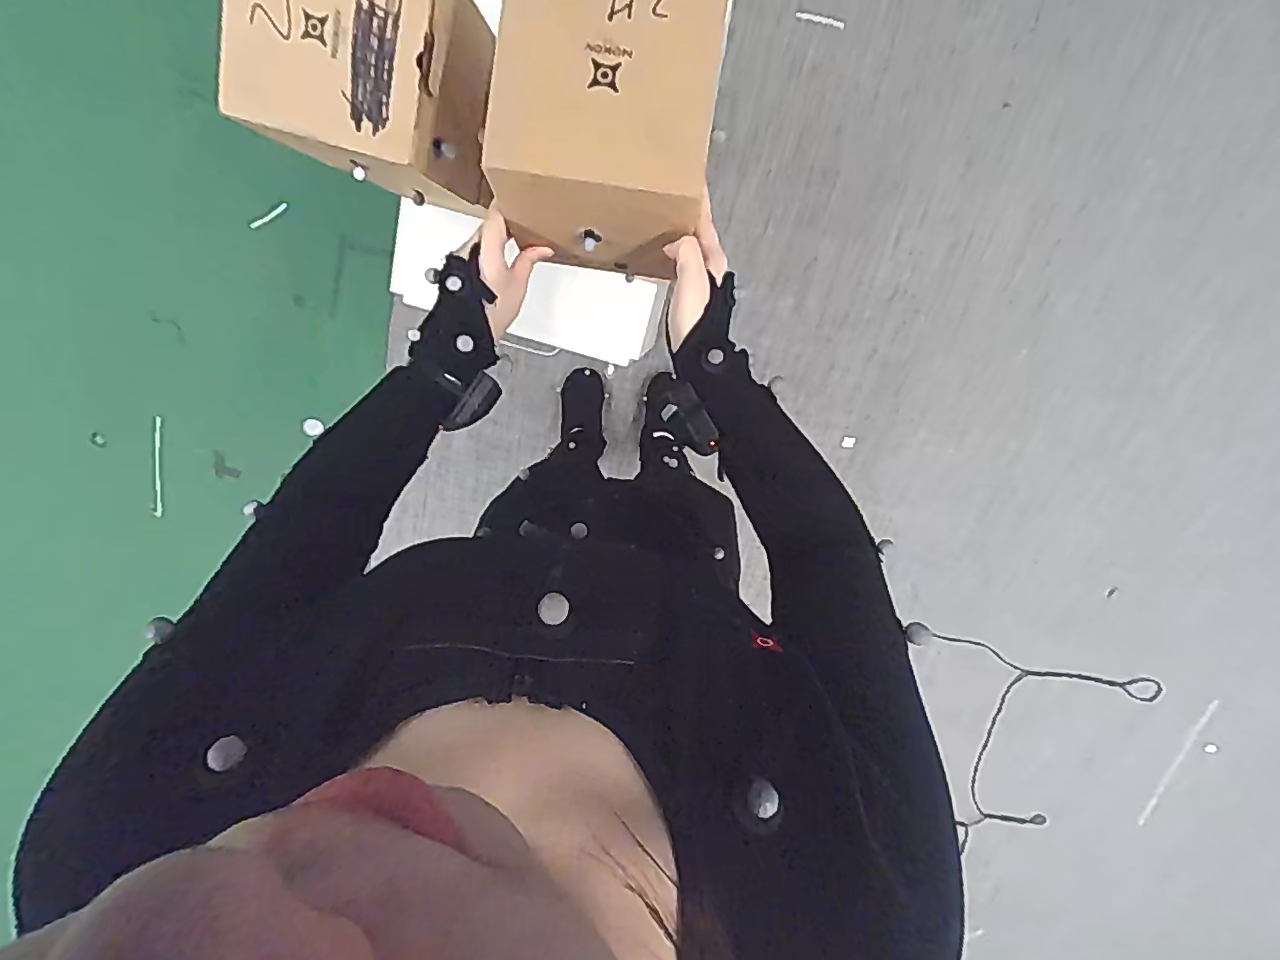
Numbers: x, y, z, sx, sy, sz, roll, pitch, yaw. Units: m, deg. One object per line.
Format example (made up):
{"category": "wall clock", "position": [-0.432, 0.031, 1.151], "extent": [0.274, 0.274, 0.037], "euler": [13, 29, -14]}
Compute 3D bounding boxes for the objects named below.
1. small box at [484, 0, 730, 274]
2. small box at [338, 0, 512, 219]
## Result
{"category": "small box", "position": [-0.025, -0.303, 0.479], "extent": [0.168, 0.176, 0.179], "euler": [8, 90, -2]}
{"category": "small box", "position": [-0.243, -0.446, 0.683], "extent": [0.179, 0.176, 0.168], "euler": [14, 107, -2]}
